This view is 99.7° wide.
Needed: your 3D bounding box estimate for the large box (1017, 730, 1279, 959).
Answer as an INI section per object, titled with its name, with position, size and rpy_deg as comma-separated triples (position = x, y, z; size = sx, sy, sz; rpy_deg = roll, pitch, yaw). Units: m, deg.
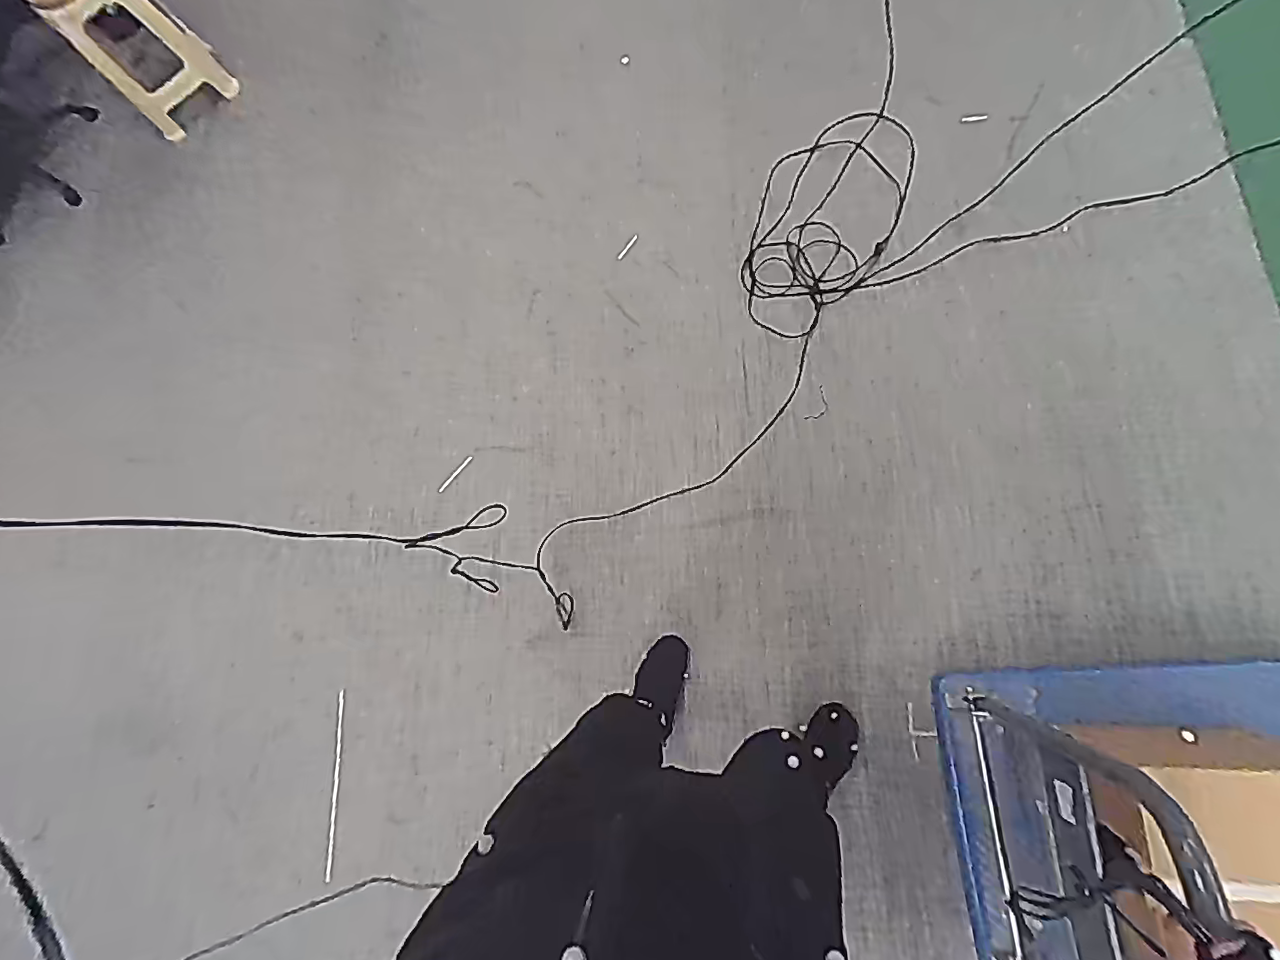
[large box]
position = 0.951, 0.616, 0.910
size = 0.408, 0.320, 0.320
rpy_deg = -3, 77, 8
